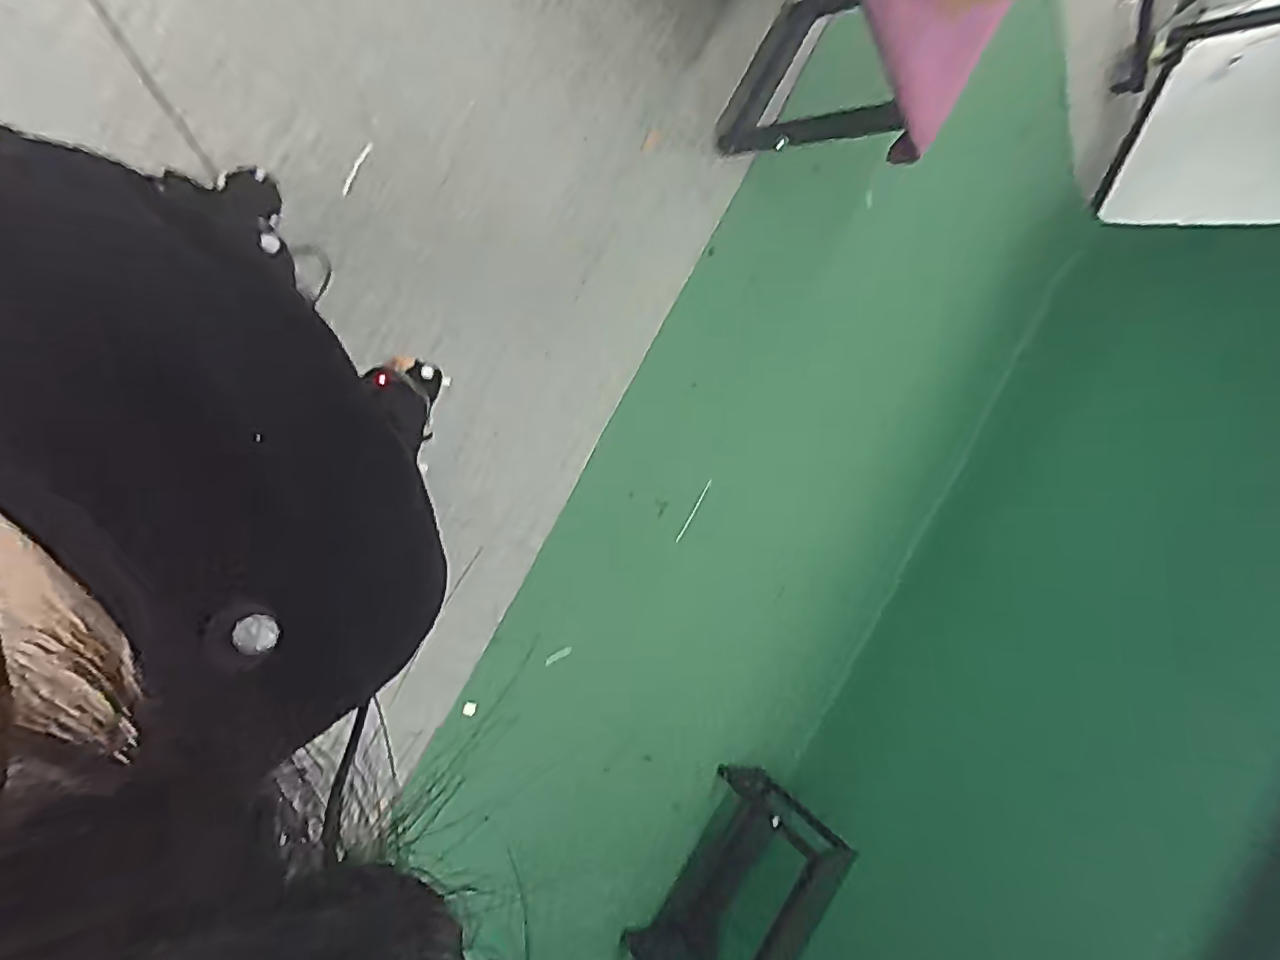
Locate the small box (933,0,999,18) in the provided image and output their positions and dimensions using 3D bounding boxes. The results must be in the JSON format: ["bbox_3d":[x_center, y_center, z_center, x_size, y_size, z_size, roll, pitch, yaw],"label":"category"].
[{"bbox_3d":[0.716,-1.111,1.110,0.168,0.176,0.179,37,84,-44],"label":"small box"}]
